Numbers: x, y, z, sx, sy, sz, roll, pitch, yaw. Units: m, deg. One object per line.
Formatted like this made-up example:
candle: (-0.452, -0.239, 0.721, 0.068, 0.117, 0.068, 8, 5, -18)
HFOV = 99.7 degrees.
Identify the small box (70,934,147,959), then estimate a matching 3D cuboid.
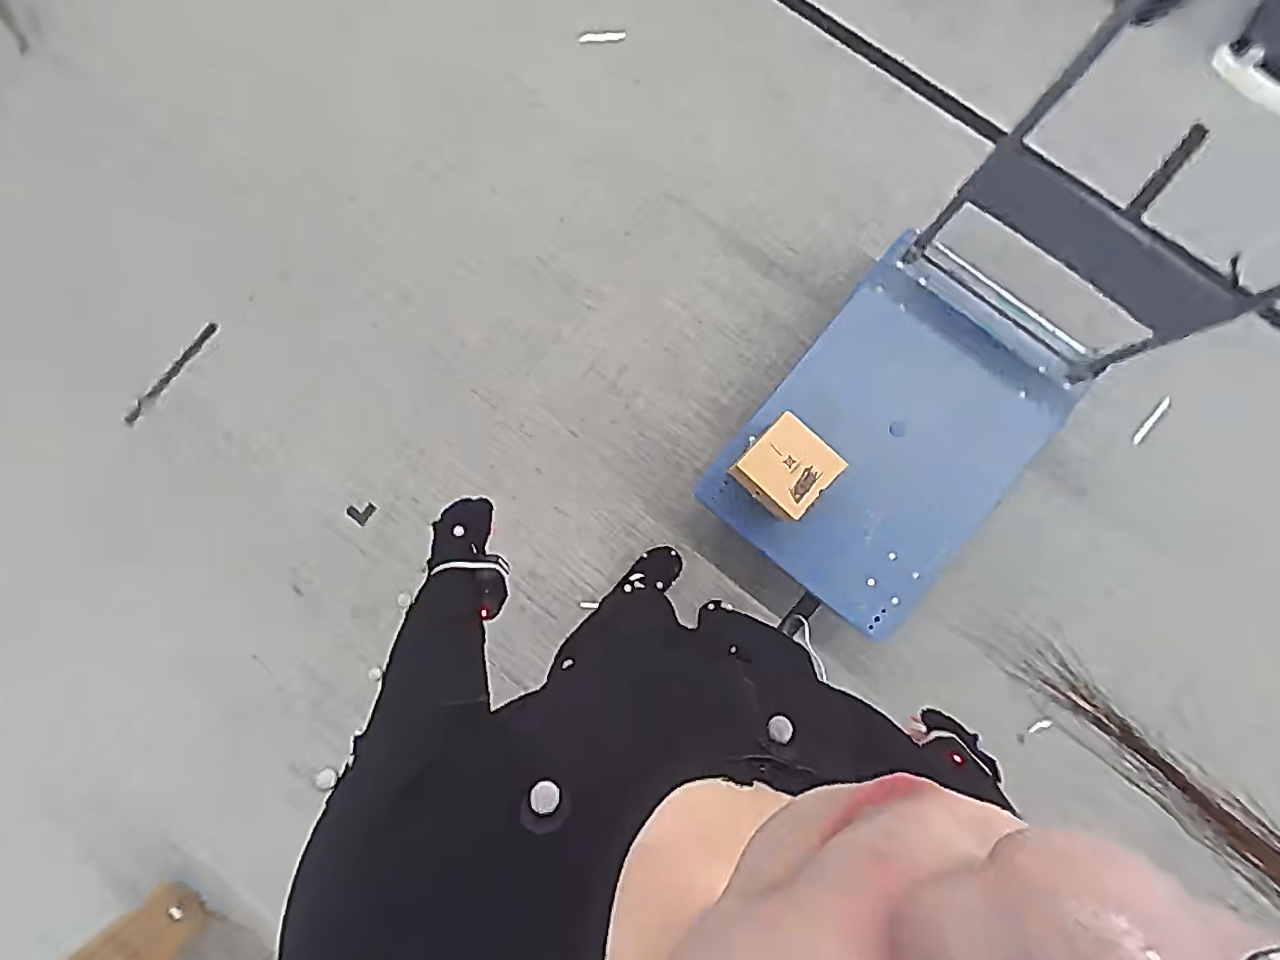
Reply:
small box: (-1.305, 1.227, 1.266, 0.179, 0.176, 0.168, 37, 90, 6)

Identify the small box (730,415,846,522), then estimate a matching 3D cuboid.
small box: (0.328, -0.022, 1.234, 0.179, 0.176, 0.168, 44, 89, 6)

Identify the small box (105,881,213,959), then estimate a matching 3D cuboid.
small box: (-1.298, 1.232, 1.430, 0.168, 0.176, 0.179, 38, 89, 5)
